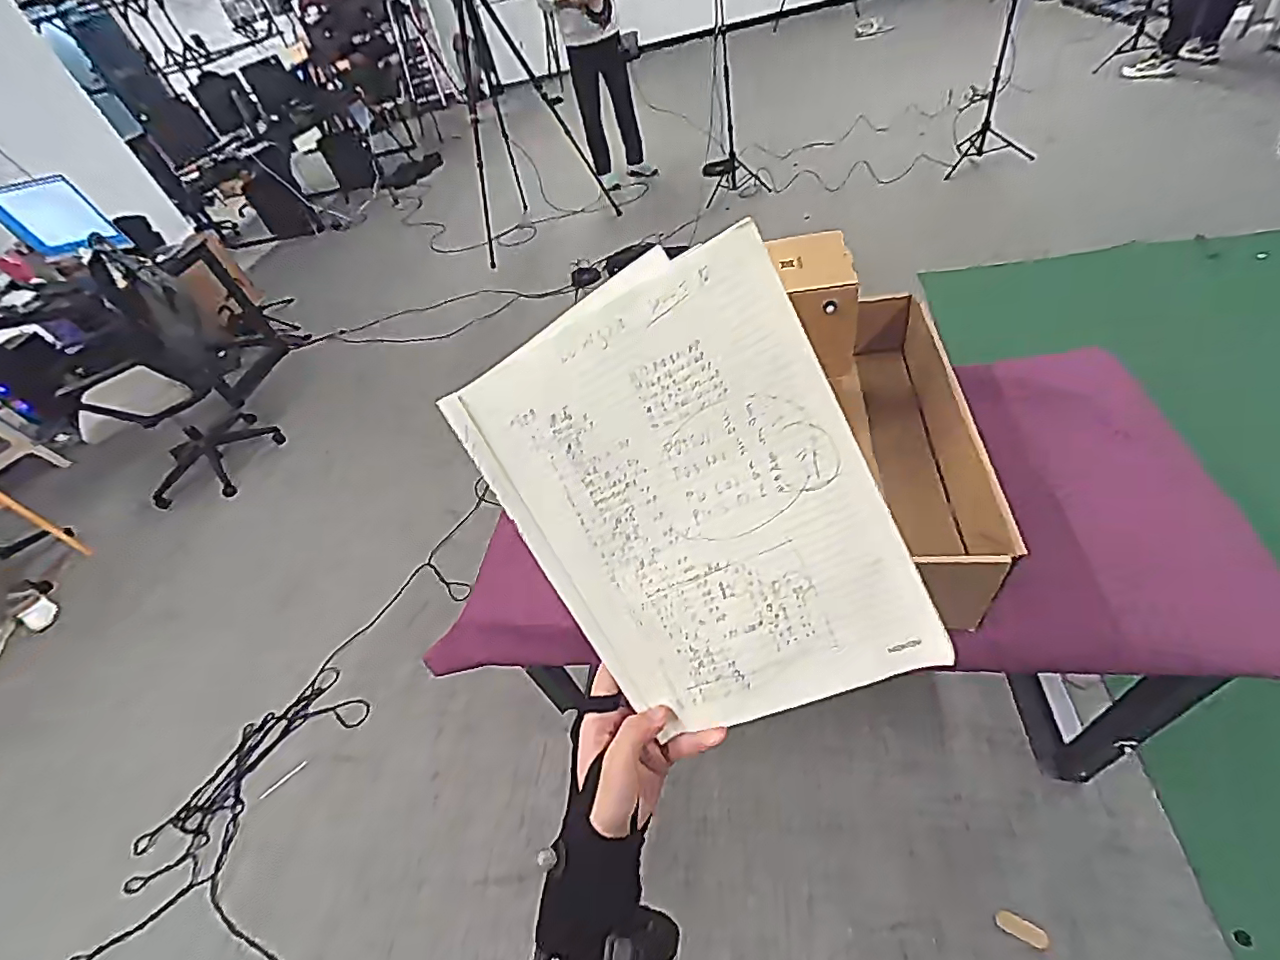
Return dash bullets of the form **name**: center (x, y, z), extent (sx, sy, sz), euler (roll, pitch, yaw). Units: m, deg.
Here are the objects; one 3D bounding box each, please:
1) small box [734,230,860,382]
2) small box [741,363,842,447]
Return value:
- **small box**: center (0.250, -0.276, 0.882), extent (0.179, 0.176, 0.168), euler (-4, 48, 12)
- **small box**: center (0.279, -0.172, 1.002), extent (0.168, 0.176, 0.179), euler (-2, 49, 14)
